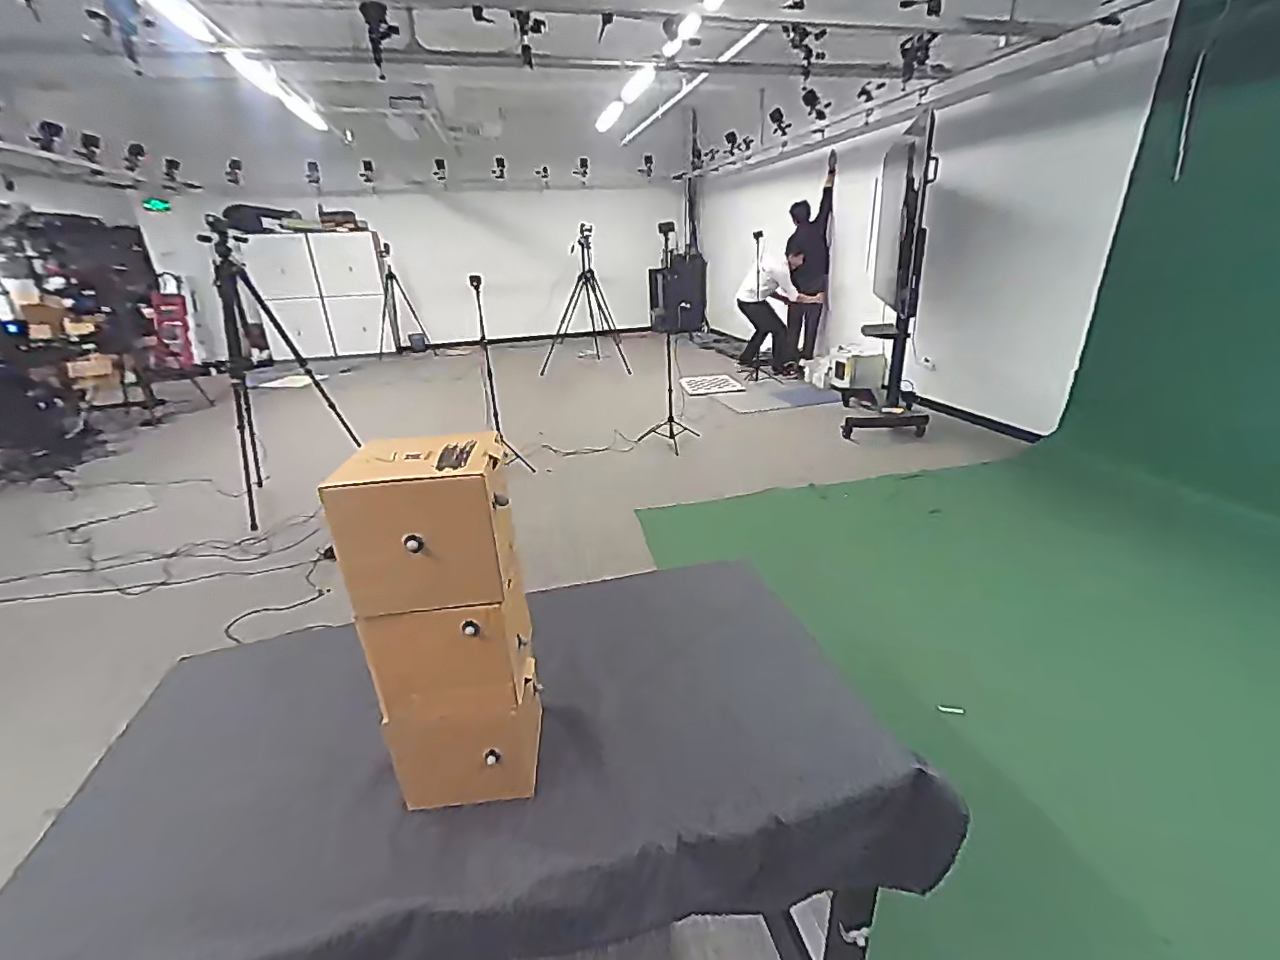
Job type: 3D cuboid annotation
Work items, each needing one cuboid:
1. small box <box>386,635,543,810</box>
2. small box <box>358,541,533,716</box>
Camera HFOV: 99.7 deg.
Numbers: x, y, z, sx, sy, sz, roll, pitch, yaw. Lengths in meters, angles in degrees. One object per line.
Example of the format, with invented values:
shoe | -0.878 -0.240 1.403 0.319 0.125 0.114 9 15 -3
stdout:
small box | -0.243 0.352 0.803 0.179 0.176 0.168 -5 22 -4
small box | -0.252 0.201 0.745 0.179 0.176 0.168 -4 22 -4
